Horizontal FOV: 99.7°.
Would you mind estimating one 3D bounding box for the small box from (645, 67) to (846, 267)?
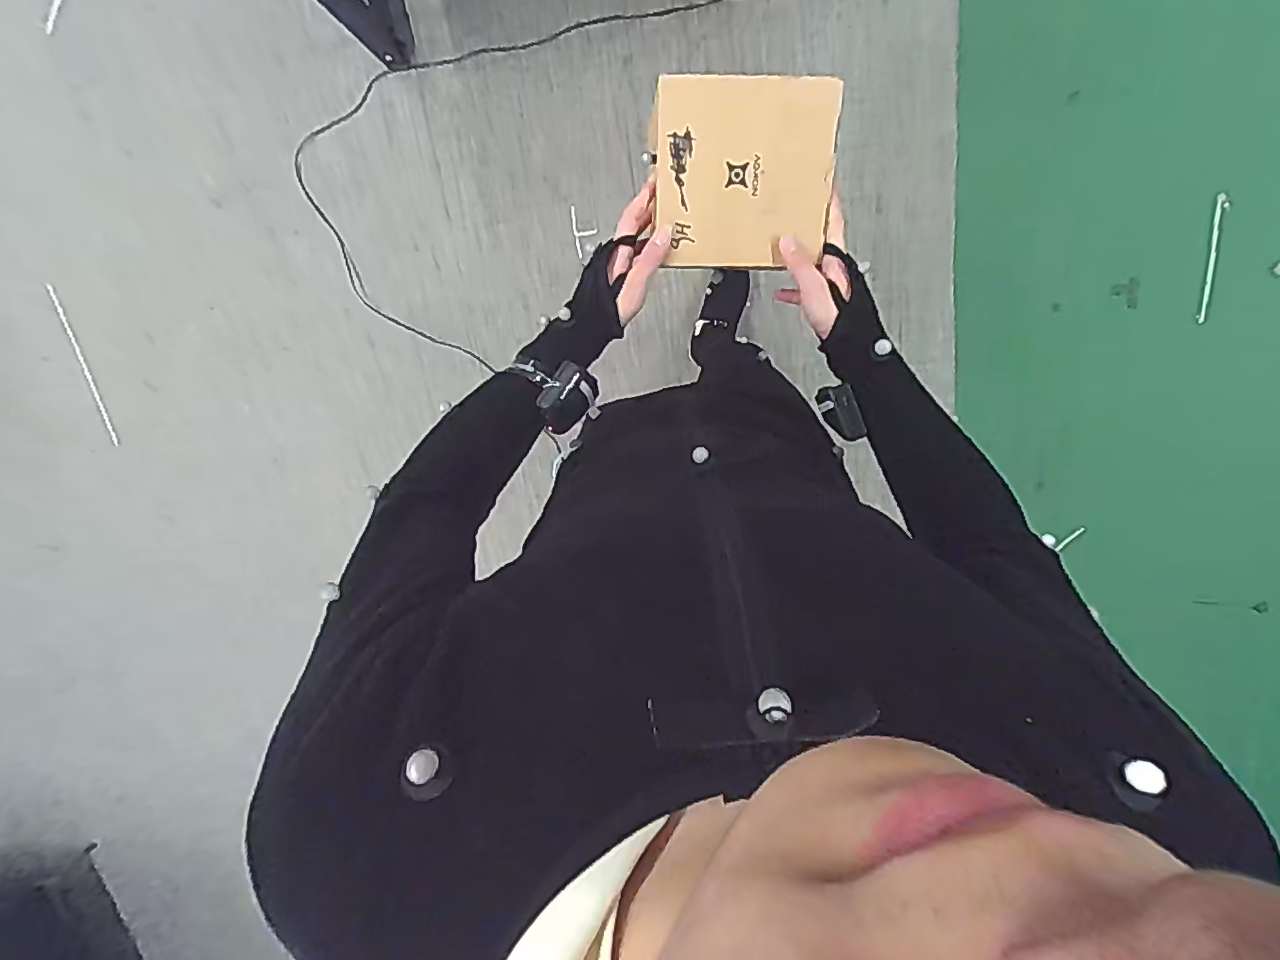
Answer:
[{"bbox_3d":[0.100,-0.327,0.599,0.179,0.176,0.168,0,110,-2],"label":"small box"}]
